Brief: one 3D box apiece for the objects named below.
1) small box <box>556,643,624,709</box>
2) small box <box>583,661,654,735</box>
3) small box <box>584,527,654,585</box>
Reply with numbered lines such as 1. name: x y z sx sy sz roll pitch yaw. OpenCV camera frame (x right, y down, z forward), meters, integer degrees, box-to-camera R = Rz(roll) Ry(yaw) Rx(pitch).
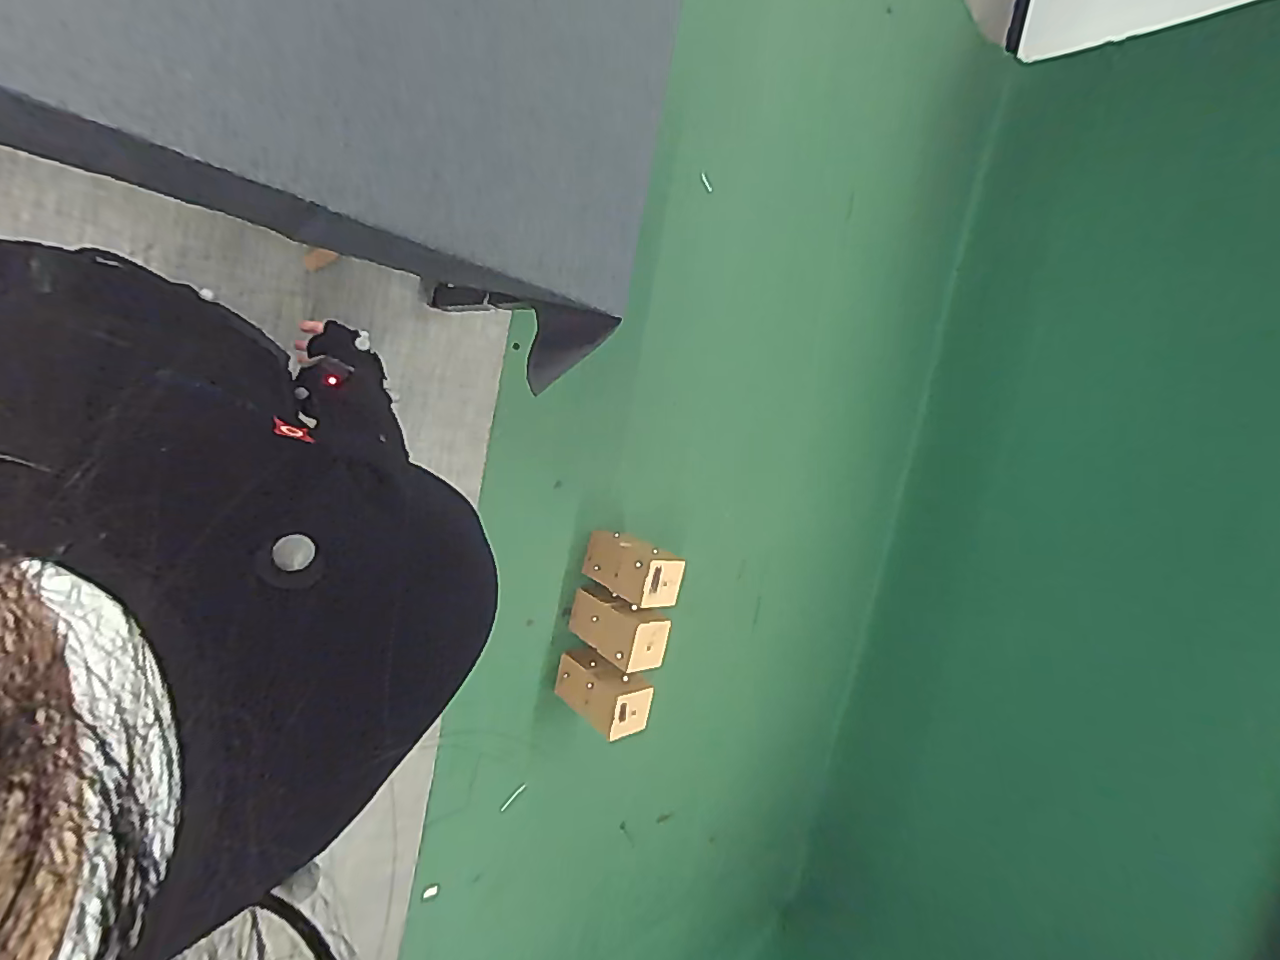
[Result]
1. small box: -0.188 0.731 2.041 0.179 0.176 0.168 6 99 -43
2. small box: -0.081 0.767 1.922 0.179 0.176 0.168 5 100 -43
3. small box: -0.083 0.279 2.001 0.179 0.176 0.168 12 94 -44
